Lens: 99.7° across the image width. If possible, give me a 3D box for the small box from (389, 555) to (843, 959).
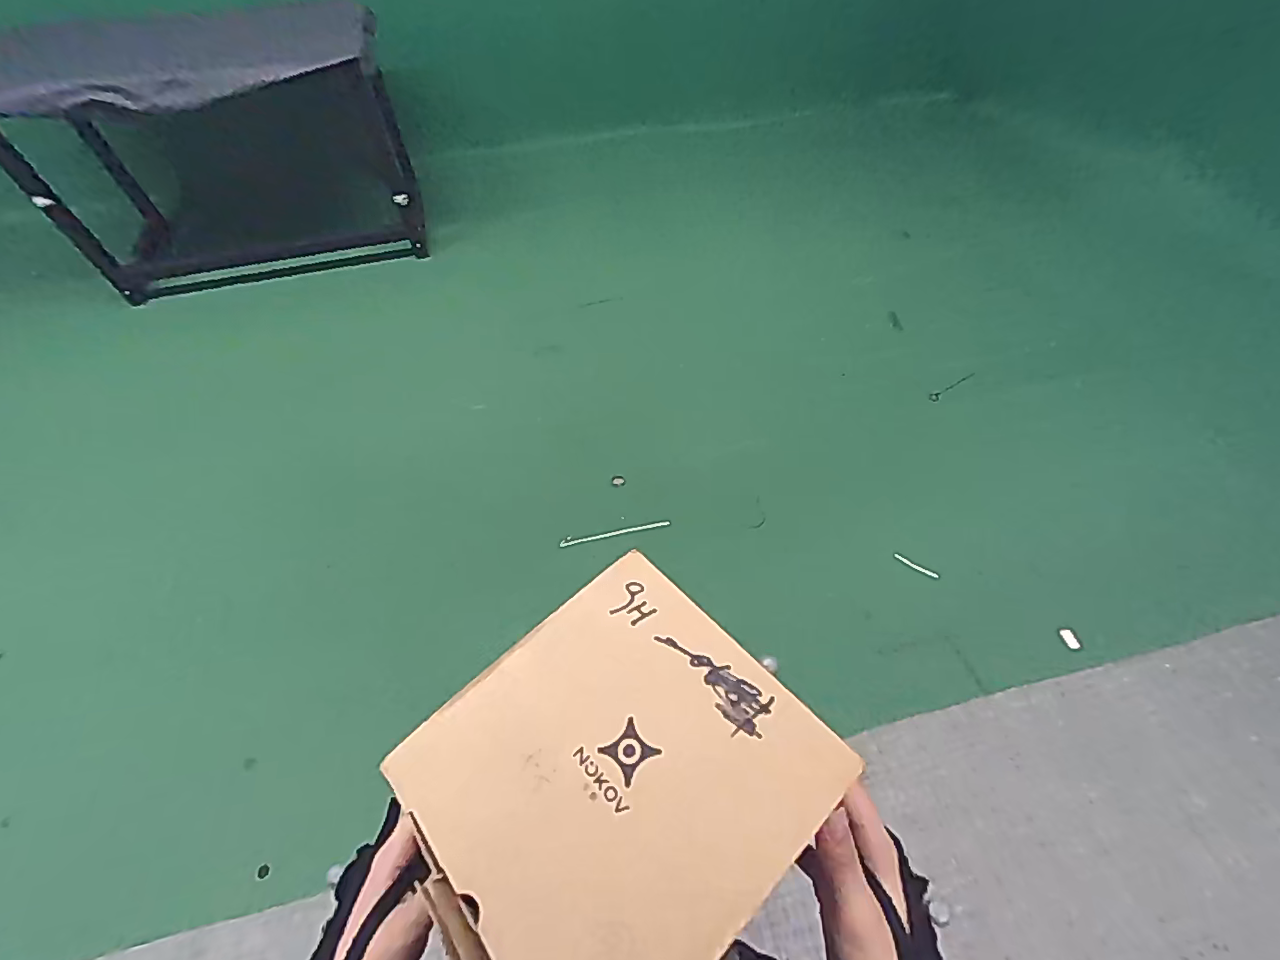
[{"bbox_3d":[-0.008,0.188,0.334,0.179,0.176,0.168,-38,59,-20],"label":"small box"}]
